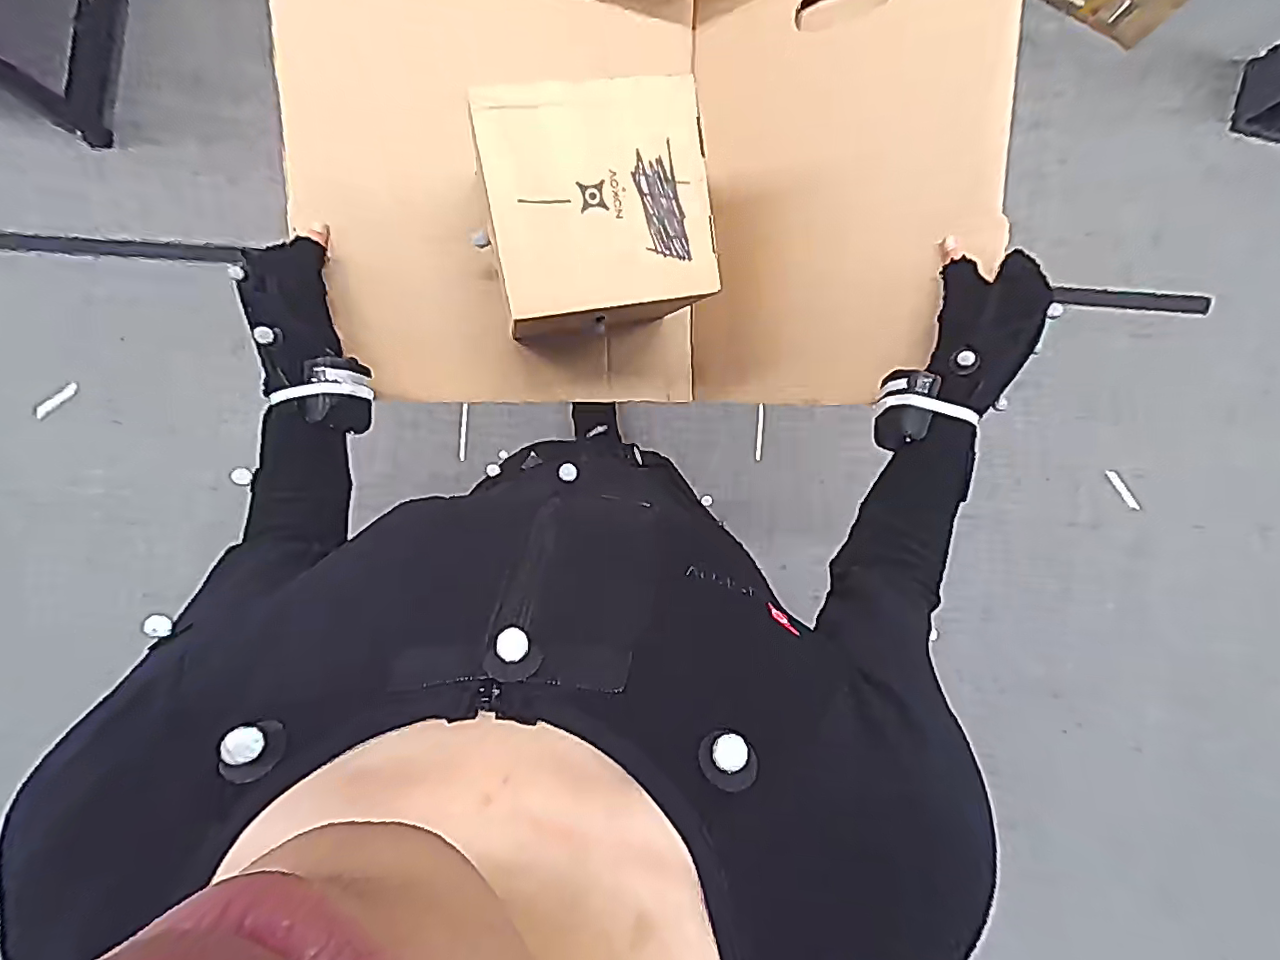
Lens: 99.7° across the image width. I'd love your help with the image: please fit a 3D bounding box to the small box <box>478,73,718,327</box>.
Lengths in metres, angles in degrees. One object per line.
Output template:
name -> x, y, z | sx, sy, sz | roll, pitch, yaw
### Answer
small box -> -0.045, -0.243, 0.505 | 0.179, 0.176, 0.168 | -11, 102, -11
